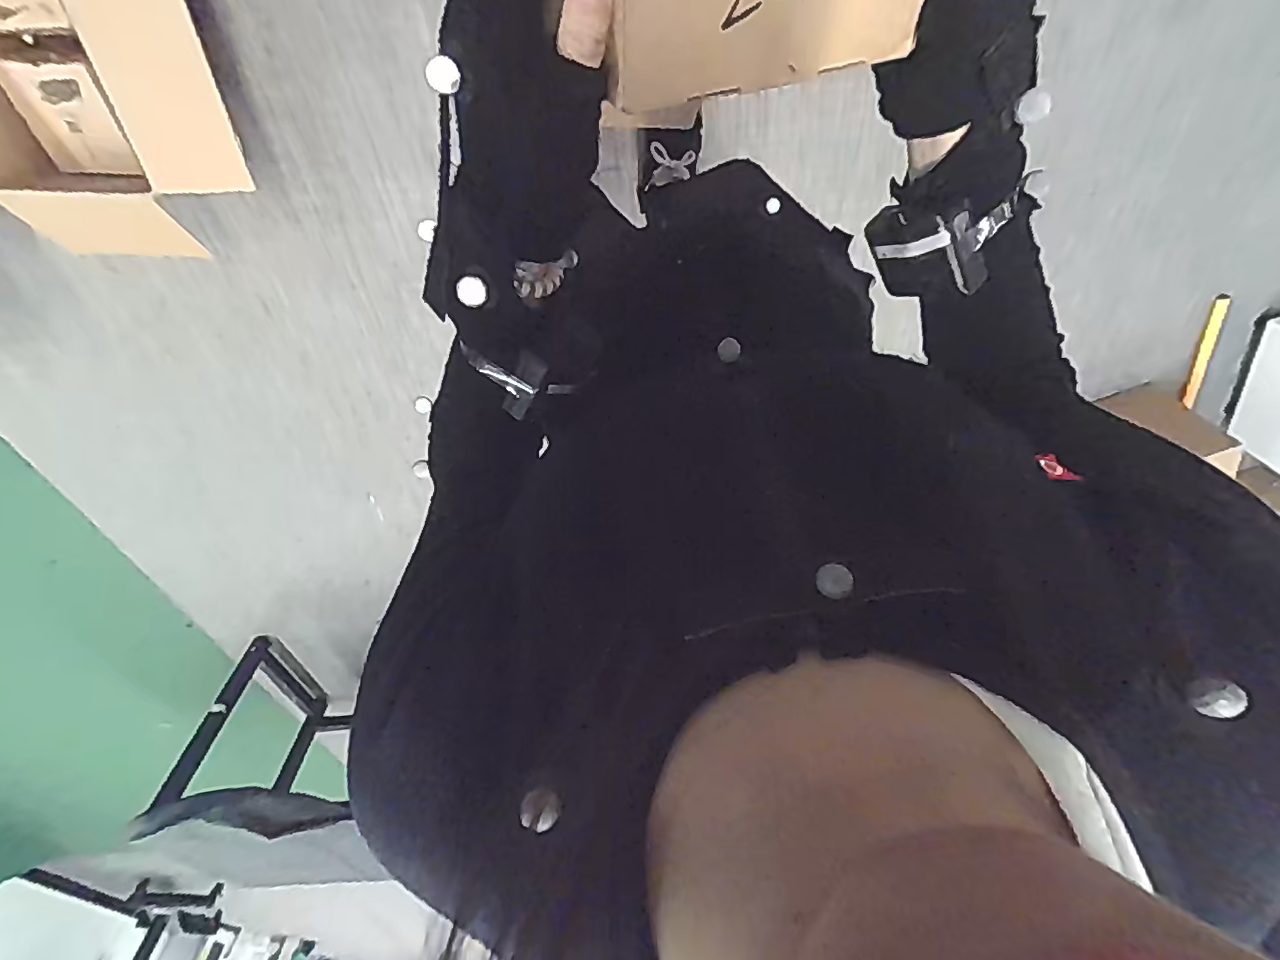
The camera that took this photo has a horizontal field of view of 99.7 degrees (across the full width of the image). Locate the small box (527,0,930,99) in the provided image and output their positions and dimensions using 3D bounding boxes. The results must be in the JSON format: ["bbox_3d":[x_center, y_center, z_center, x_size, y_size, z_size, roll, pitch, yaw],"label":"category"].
[{"bbox_3d":[0.028,-0.293,0.215,0.168,0.176,0.179,-23,150,-17],"label":"small box"}]
